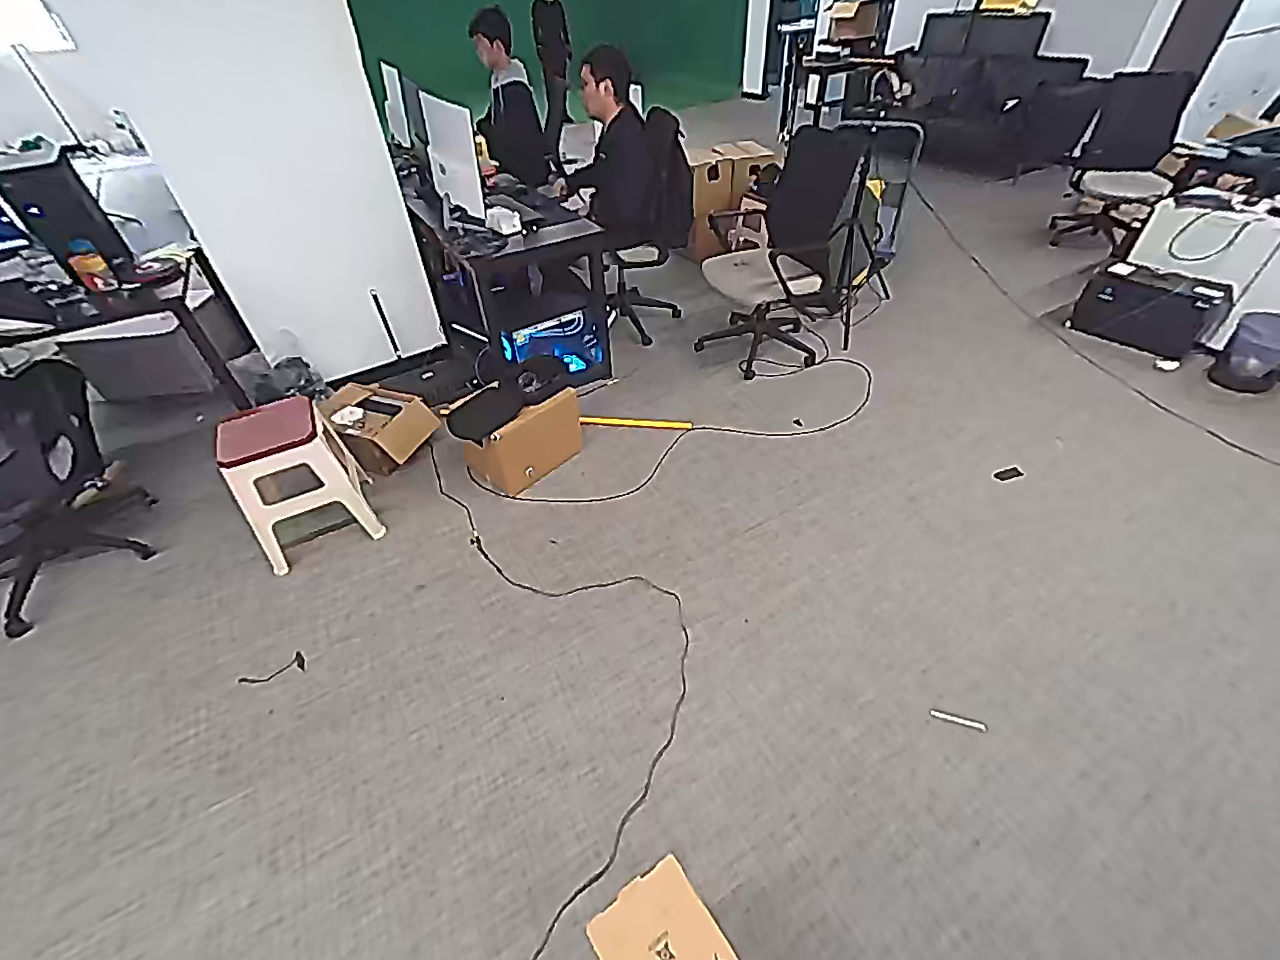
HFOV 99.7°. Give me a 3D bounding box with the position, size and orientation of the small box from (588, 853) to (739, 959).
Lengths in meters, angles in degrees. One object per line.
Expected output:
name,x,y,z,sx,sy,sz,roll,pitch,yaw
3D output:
small box,0.036,0.735,0.836,0.168,0.176,0.179,-27,48,-23
